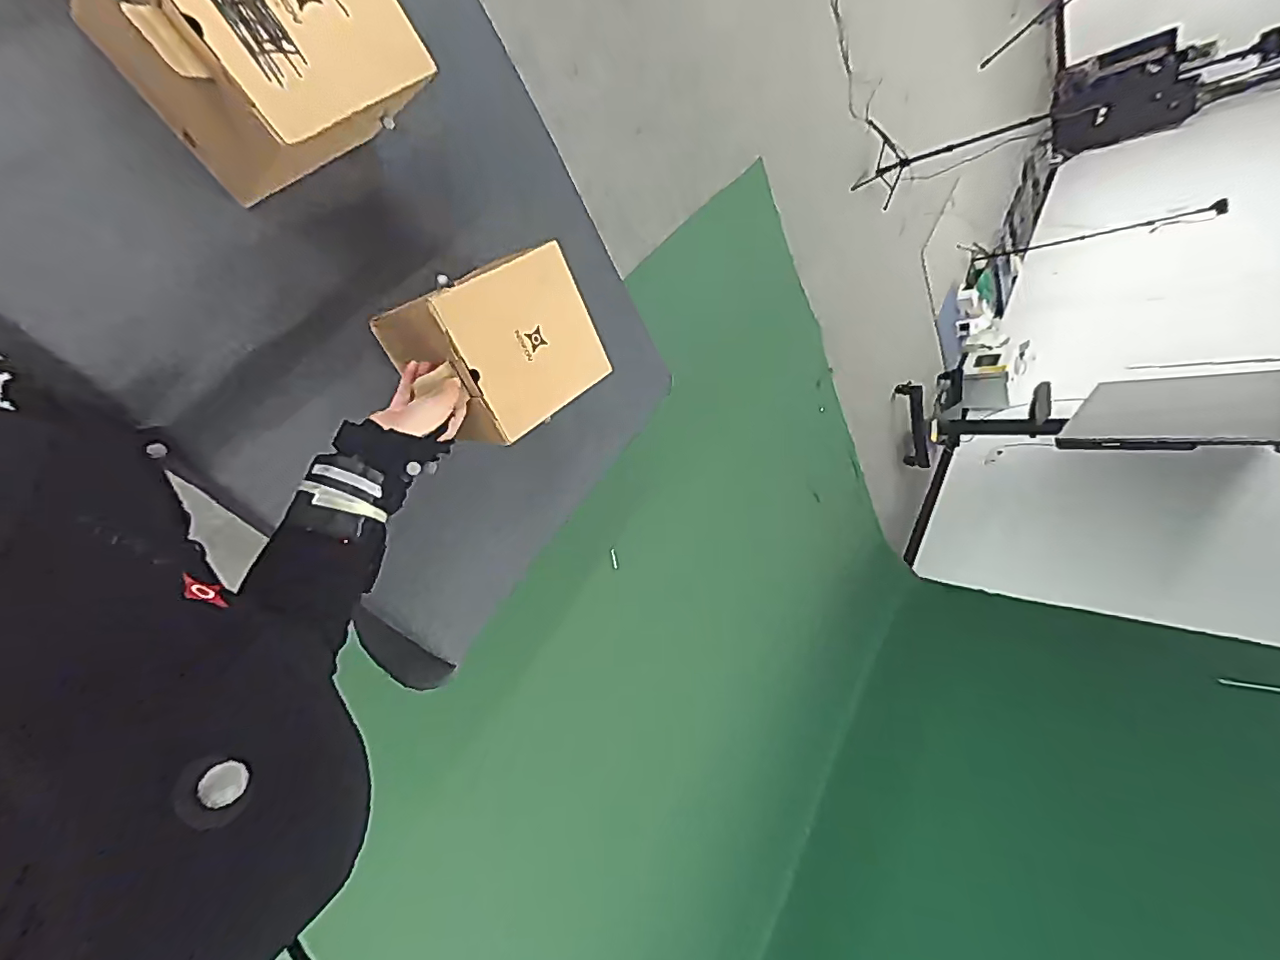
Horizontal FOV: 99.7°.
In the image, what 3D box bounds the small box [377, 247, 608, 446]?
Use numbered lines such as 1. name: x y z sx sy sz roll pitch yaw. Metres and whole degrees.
1. small box: -0.176 -0.159 0.655 0.179 0.176 0.168 -43 123 -32
